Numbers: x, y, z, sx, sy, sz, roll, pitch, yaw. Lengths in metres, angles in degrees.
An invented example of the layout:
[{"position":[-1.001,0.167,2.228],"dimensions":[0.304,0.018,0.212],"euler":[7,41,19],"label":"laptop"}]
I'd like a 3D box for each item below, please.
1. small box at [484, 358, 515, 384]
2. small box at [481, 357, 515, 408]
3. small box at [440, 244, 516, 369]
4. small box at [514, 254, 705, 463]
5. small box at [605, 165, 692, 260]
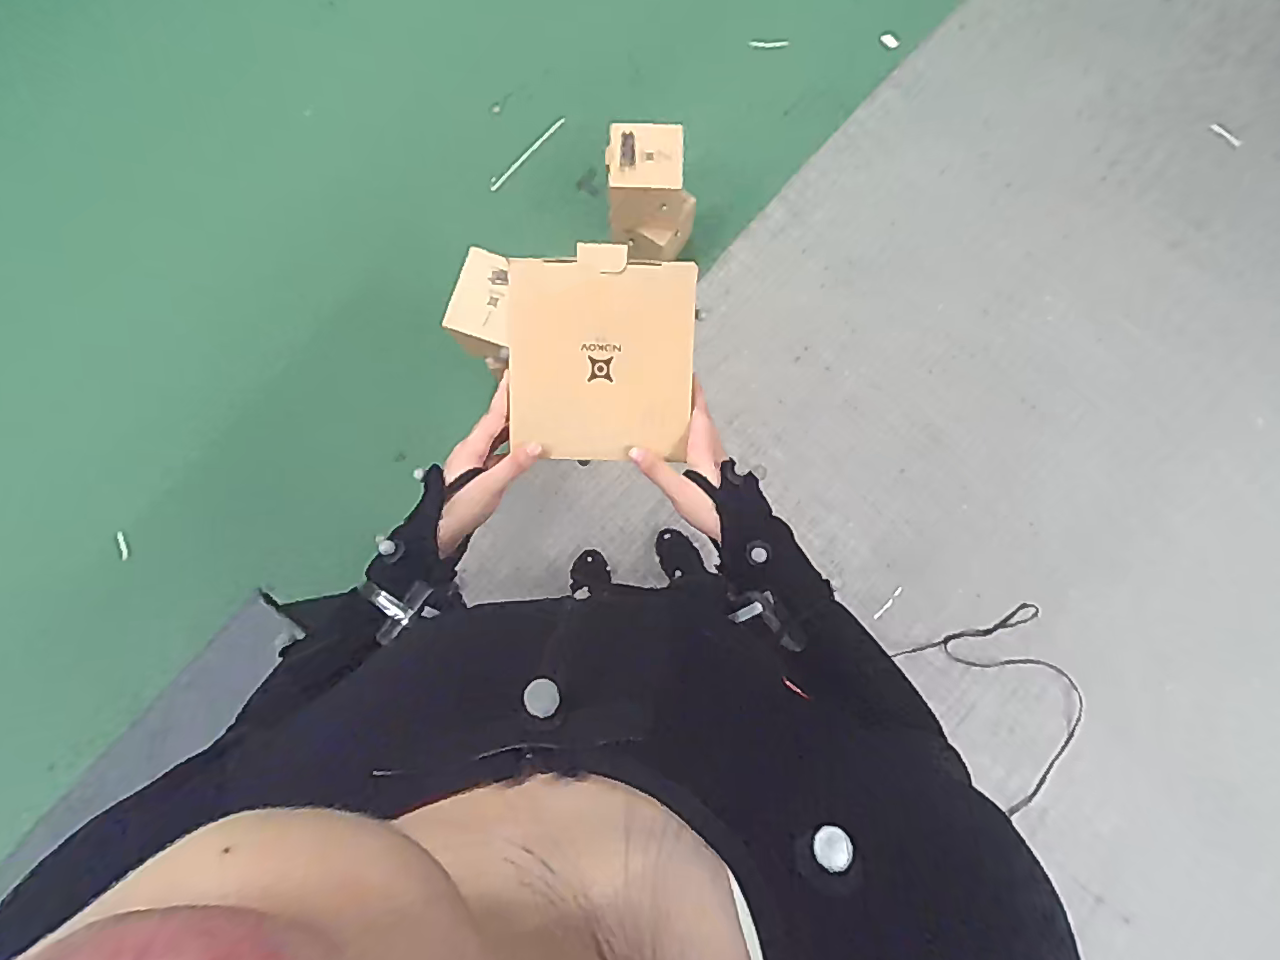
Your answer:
[{"position":[-0.285,-0.341,1.301],"dimensions":[0.168,0.176,0.179],"euler":[-11,83,-3],"label":"small box"},{"position":[-0.311,-0.304,1.459],"dimensions":[0.168,0.176,0.179],"euler":[-32,85,-4],"label":"small box"},{"position":[-0.290,-0.352,1.136],"dimensions":[0.168,0.176,0.179],"euler":[19,85,1],"label":"small box"},{"position":[-0.028,-0.116,0.552],"dimensions":[0.168,0.176,0.179],"euler":[2,98,-1],"label":"small box"},{"position":[0.022,-0.721,1.506],"dimensions":[0.179,0.176,0.168],"euler":[32,84,4],"label":"small box"}]
